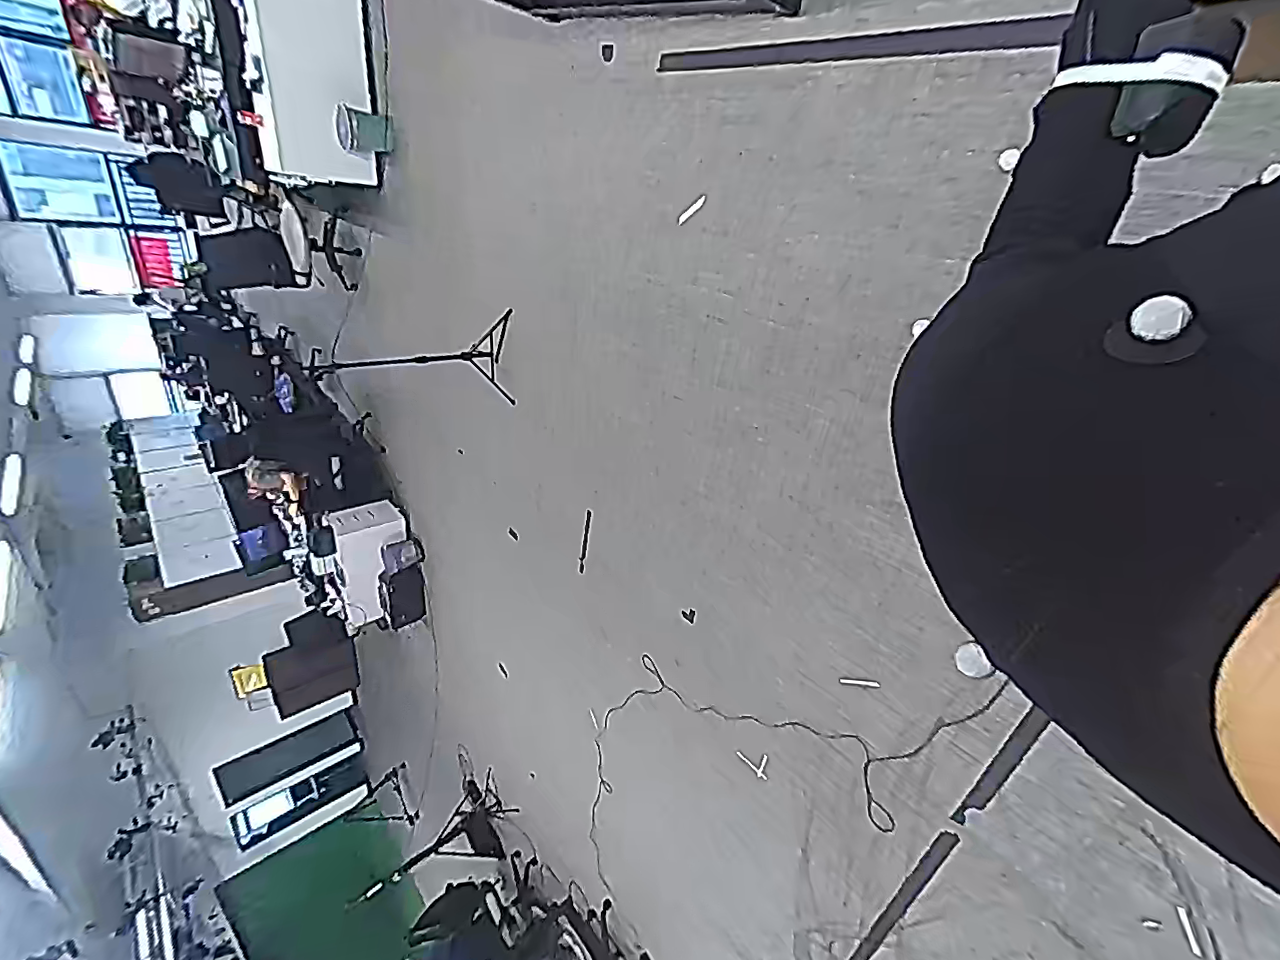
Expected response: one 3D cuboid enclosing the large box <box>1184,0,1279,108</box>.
[{"bbox_3d":[0.587,-0.390,0.244,0.408,0.320,0.320,27,126,38],"label":"large box"}]
